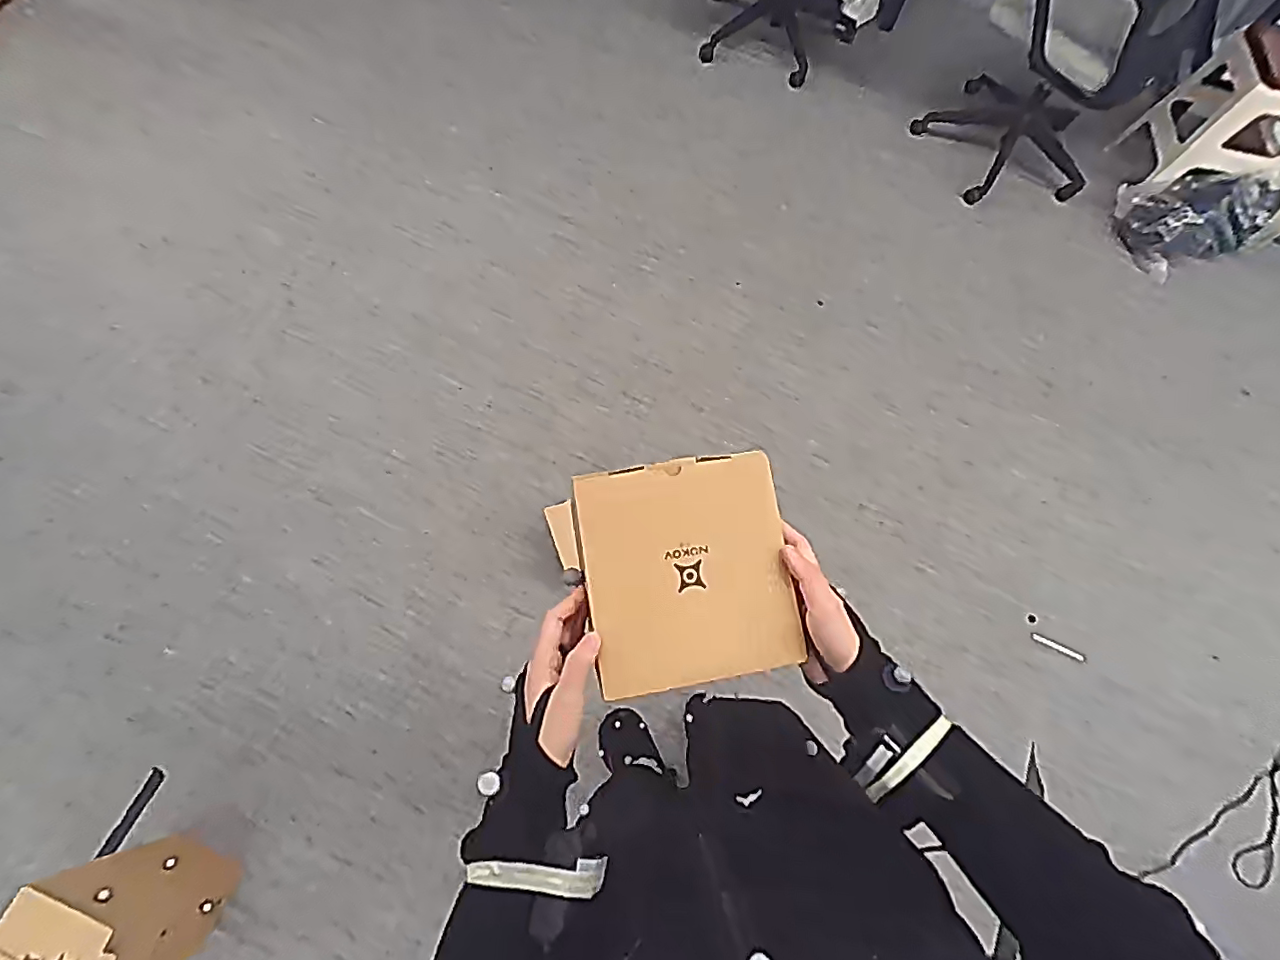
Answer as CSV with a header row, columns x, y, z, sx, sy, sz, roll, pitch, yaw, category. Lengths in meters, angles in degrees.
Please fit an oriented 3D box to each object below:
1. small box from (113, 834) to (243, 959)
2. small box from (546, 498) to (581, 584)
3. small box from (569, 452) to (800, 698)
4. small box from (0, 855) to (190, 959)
x,y,z,sx,sy,sz,roll,pitch,yaw,category
-0.940,0.828,1.059,0.179,0.176,0.168,20,69,4,small box
-0.131,0.144,1.363,0.168,0.176,0.179,-19,72,-11,small box
0.028,0.083,0.509,0.168,0.176,0.179,-8,82,-8,small box
-0.926,0.768,0.906,0.179,0.176,0.168,21,69,4,small box
